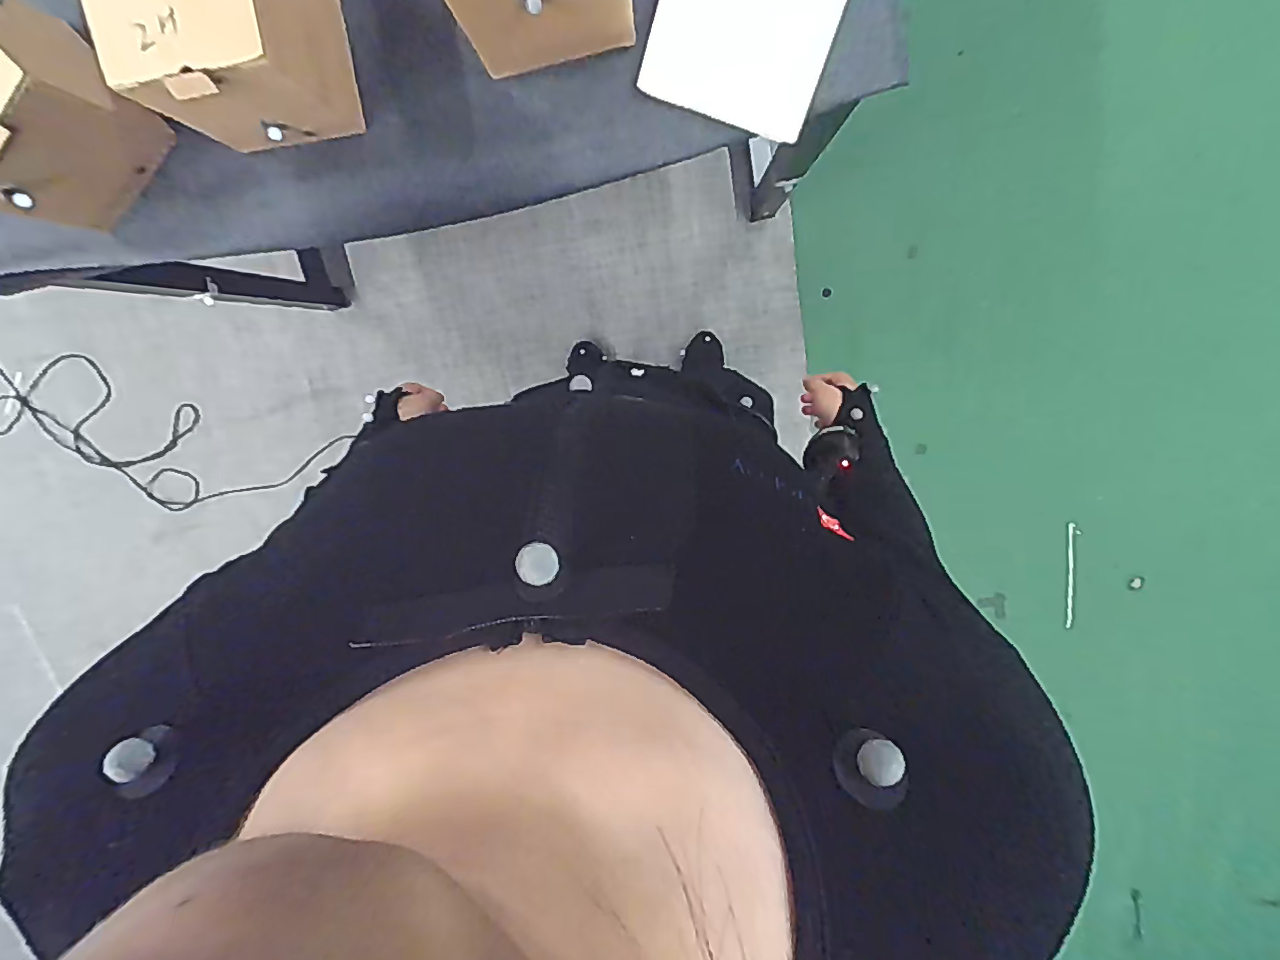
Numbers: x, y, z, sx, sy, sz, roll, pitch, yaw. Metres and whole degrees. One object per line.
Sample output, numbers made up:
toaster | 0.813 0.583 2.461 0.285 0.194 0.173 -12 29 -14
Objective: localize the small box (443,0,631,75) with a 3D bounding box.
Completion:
small box | -0.108 -0.548 0.535 0.179 0.176 0.168 -9 102 7

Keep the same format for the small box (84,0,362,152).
small box | -0.431 -0.483 0.572 0.168 0.176 0.179 -6 103 6

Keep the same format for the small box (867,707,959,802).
small box | 0.754 0.755 1.503 0.179 0.176 0.168 -10 104 6
